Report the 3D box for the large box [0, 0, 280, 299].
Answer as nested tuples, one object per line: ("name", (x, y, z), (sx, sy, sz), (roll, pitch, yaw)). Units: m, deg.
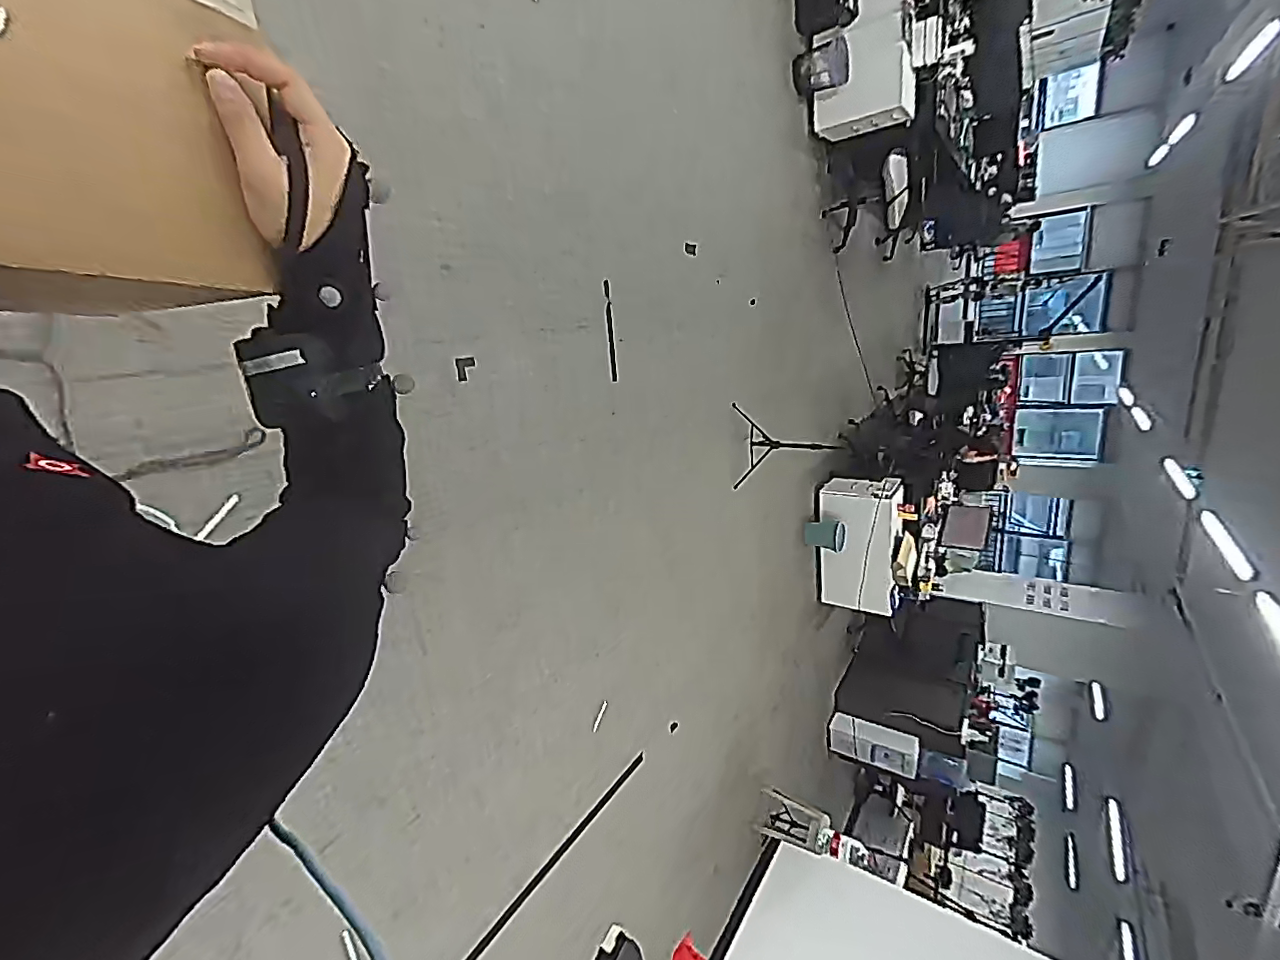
("large box", (-0.465, -0.261, 0.229), (0.408, 0.320, 0.320), (-20, 114, -58))
